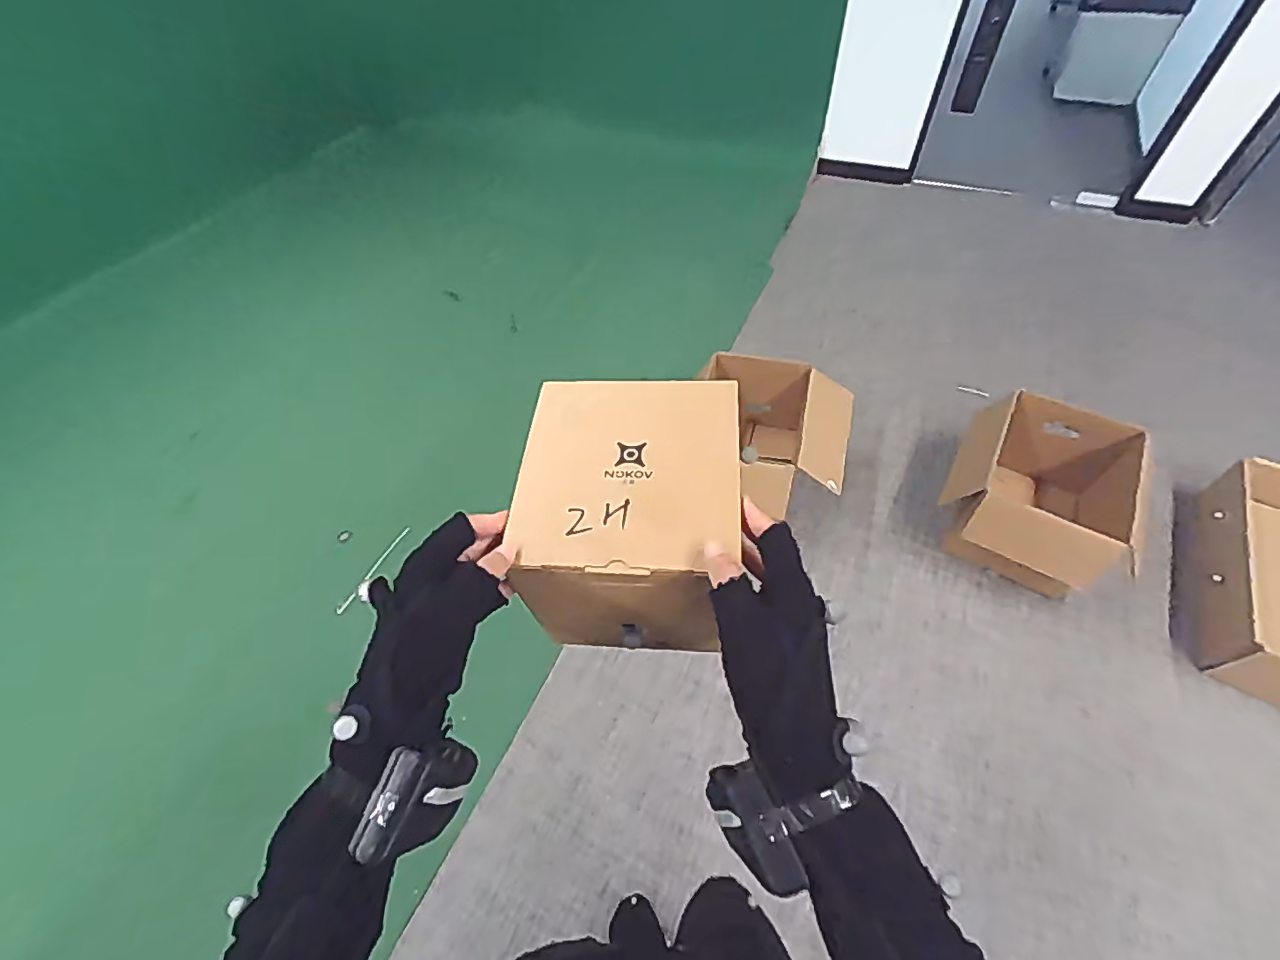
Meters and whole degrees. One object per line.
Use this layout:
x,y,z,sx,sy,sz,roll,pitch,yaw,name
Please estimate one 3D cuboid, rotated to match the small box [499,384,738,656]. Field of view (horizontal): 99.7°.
-0.003,0.037,0.476,0.168,0.176,0.179,2,55,8,small box
